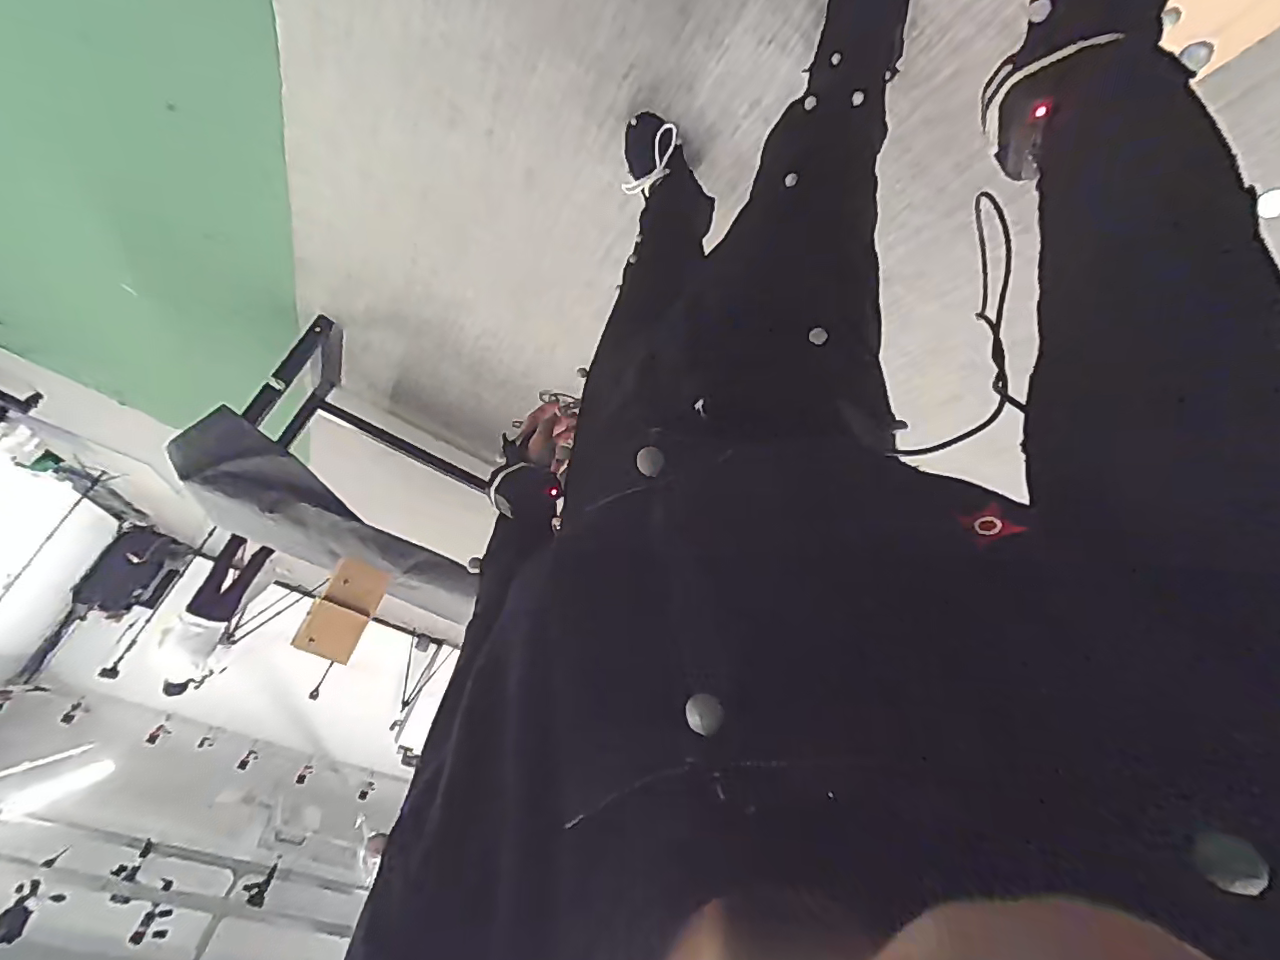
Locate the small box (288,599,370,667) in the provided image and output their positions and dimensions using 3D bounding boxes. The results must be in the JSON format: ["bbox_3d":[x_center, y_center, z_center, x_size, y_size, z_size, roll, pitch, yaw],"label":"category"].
[{"bbox_3d":[-1.053,0.517,1.836,0.179,0.176,0.168,34,150,-26],"label":"small box"}]

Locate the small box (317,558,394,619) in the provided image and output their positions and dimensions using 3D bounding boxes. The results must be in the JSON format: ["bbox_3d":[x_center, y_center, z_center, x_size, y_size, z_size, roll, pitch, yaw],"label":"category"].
[{"bbox_3d":[-1.015,0.386,1.927,0.179,0.176,0.168,32,151,-25],"label":"small box"}]
